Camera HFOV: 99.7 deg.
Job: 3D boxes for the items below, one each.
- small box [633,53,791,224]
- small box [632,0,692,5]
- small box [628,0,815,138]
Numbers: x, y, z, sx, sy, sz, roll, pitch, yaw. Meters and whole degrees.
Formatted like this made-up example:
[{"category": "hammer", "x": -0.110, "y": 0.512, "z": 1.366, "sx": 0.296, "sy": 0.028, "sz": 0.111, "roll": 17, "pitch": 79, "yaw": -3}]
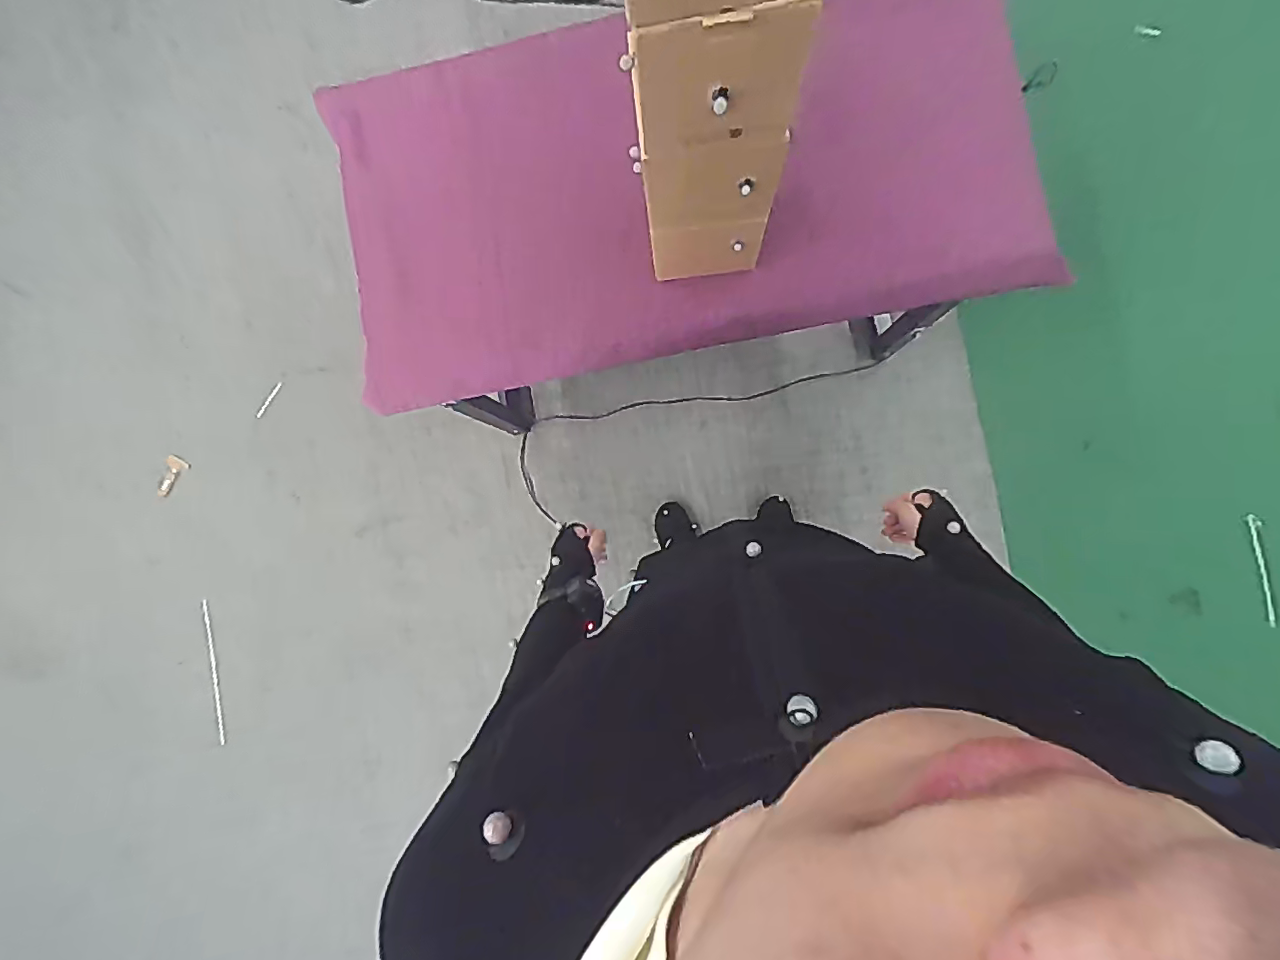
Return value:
[{"category": "small box", "x": 0.088, "y": -0.466, "z": 0.712, "sx": 0.179, "sy": 0.176, "sz": 0.168, "roll": -6, "pitch": 86, "yaw": 5}, {"category": "small box", "x": 0.058, "y": -0.496, "z": 0.387, "sx": 0.179, "sy": 0.176, "sz": 0.168, "roll": -8, "pitch": 85, "yaw": 4}, {"category": "small box", "x": 0.073, "y": -0.483, "z": 0.551, "sx": 0.168, "sy": 0.176, "sz": 0.179, "roll": -6, "pitch": 86, "yaw": 4}]
